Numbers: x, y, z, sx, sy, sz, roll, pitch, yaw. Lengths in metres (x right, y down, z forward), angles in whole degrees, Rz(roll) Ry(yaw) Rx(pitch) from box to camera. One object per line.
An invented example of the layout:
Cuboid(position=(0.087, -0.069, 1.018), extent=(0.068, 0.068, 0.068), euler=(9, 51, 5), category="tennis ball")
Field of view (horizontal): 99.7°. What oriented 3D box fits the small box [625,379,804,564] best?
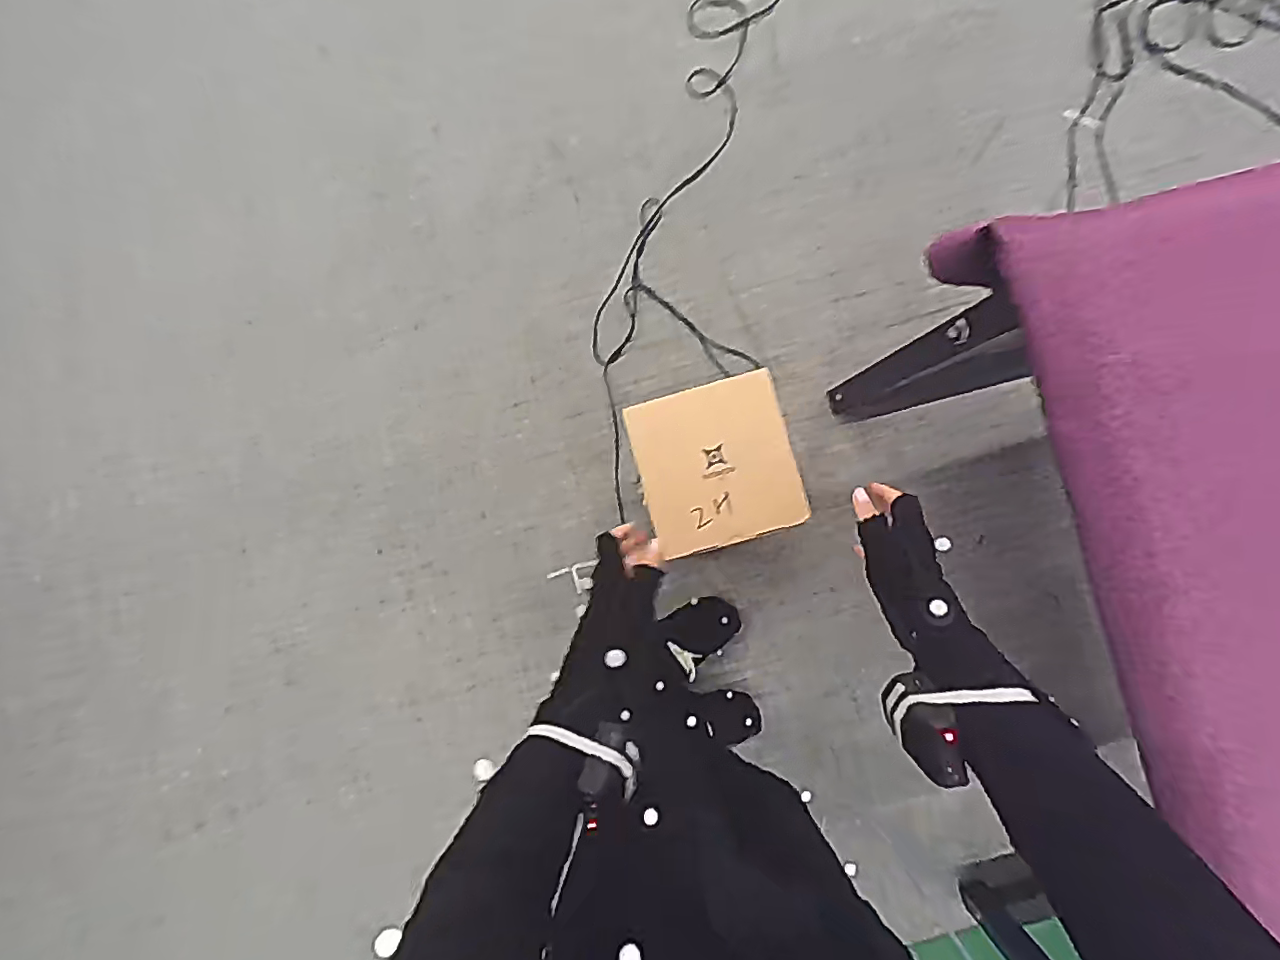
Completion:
Cuboid(position=(0.082, -0.006, 0.670), extent=(0.168, 0.176, 0.179), euler=(-14, 88, 2), category="small box")
